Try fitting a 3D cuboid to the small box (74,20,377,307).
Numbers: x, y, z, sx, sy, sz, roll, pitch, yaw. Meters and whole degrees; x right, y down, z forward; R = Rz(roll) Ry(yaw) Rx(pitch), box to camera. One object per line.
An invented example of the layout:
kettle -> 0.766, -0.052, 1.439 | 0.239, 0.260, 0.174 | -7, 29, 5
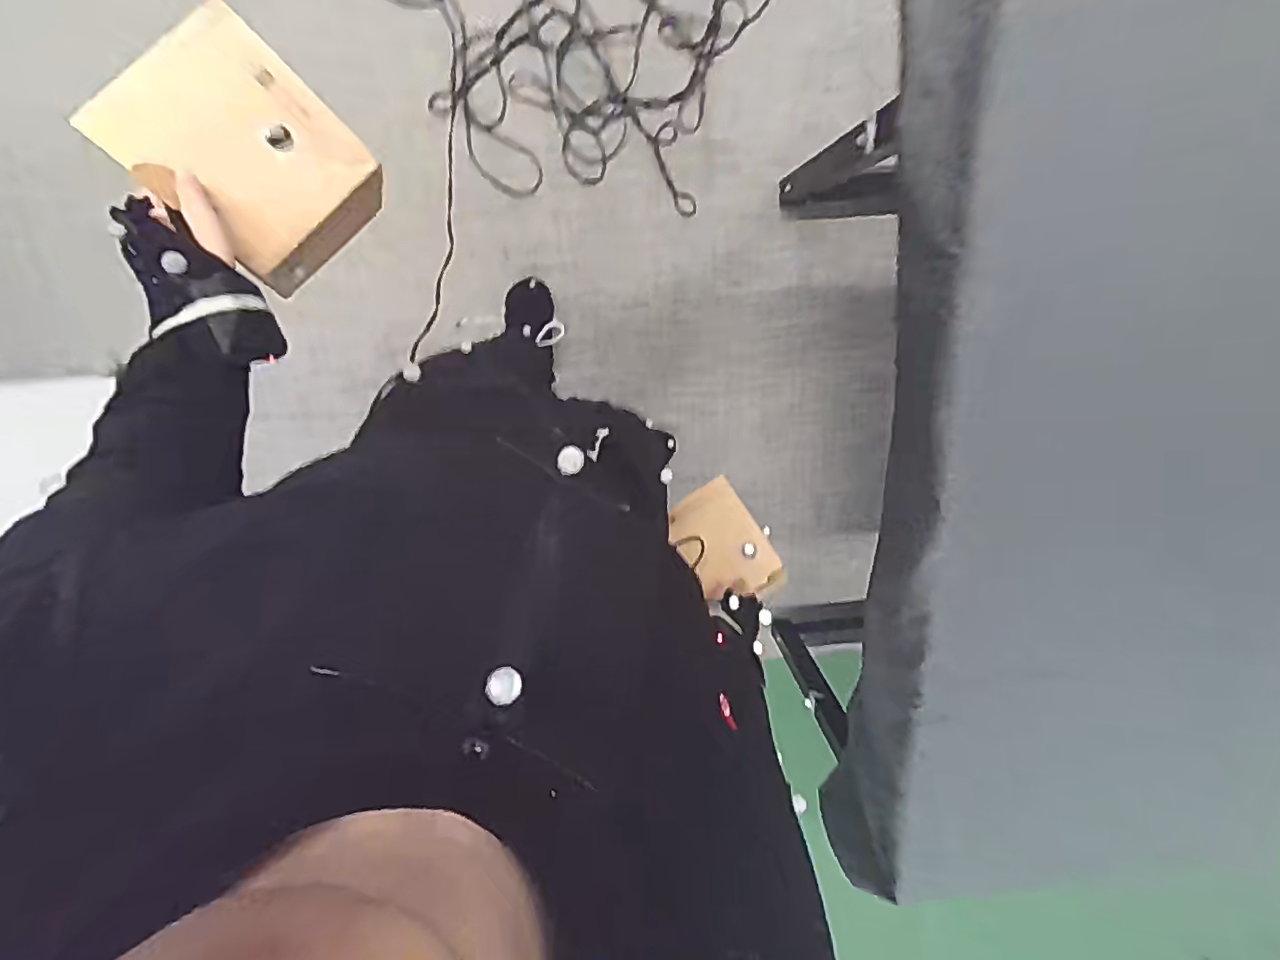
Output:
small box -> -0.400, -0.310, 0.567 | 0.168, 0.179, 0.176 | 42, 82, -25
